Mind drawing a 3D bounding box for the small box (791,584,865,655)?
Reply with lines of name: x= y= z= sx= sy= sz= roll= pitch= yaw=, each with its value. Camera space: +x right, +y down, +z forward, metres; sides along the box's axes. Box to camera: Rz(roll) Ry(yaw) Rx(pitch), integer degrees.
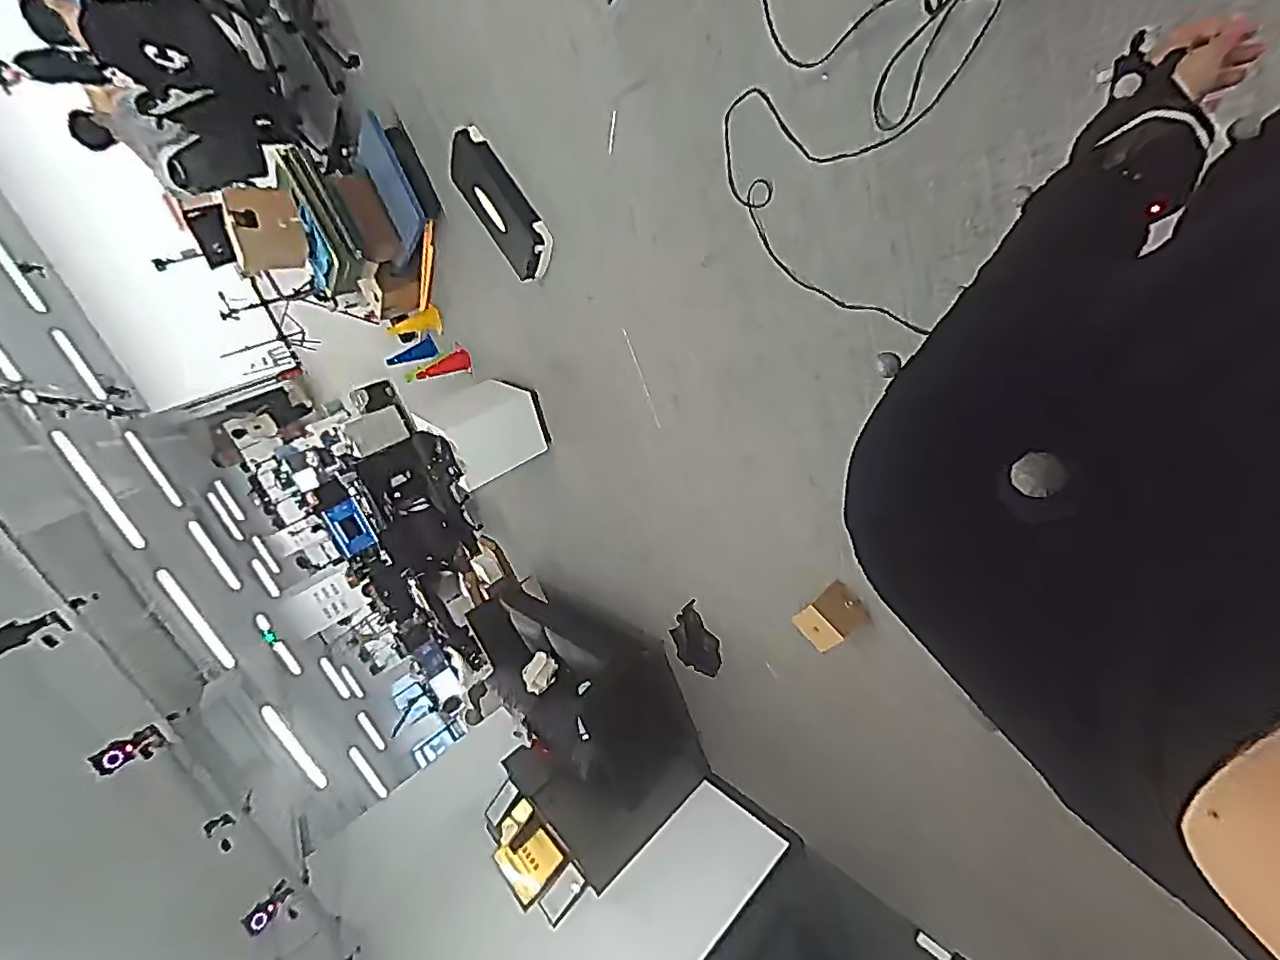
small box: x=0.712 y=0.526 z=2.039 sx=0.168 sy=0.176 sz=0.179 roll=47 pitch=148 yaw=17
